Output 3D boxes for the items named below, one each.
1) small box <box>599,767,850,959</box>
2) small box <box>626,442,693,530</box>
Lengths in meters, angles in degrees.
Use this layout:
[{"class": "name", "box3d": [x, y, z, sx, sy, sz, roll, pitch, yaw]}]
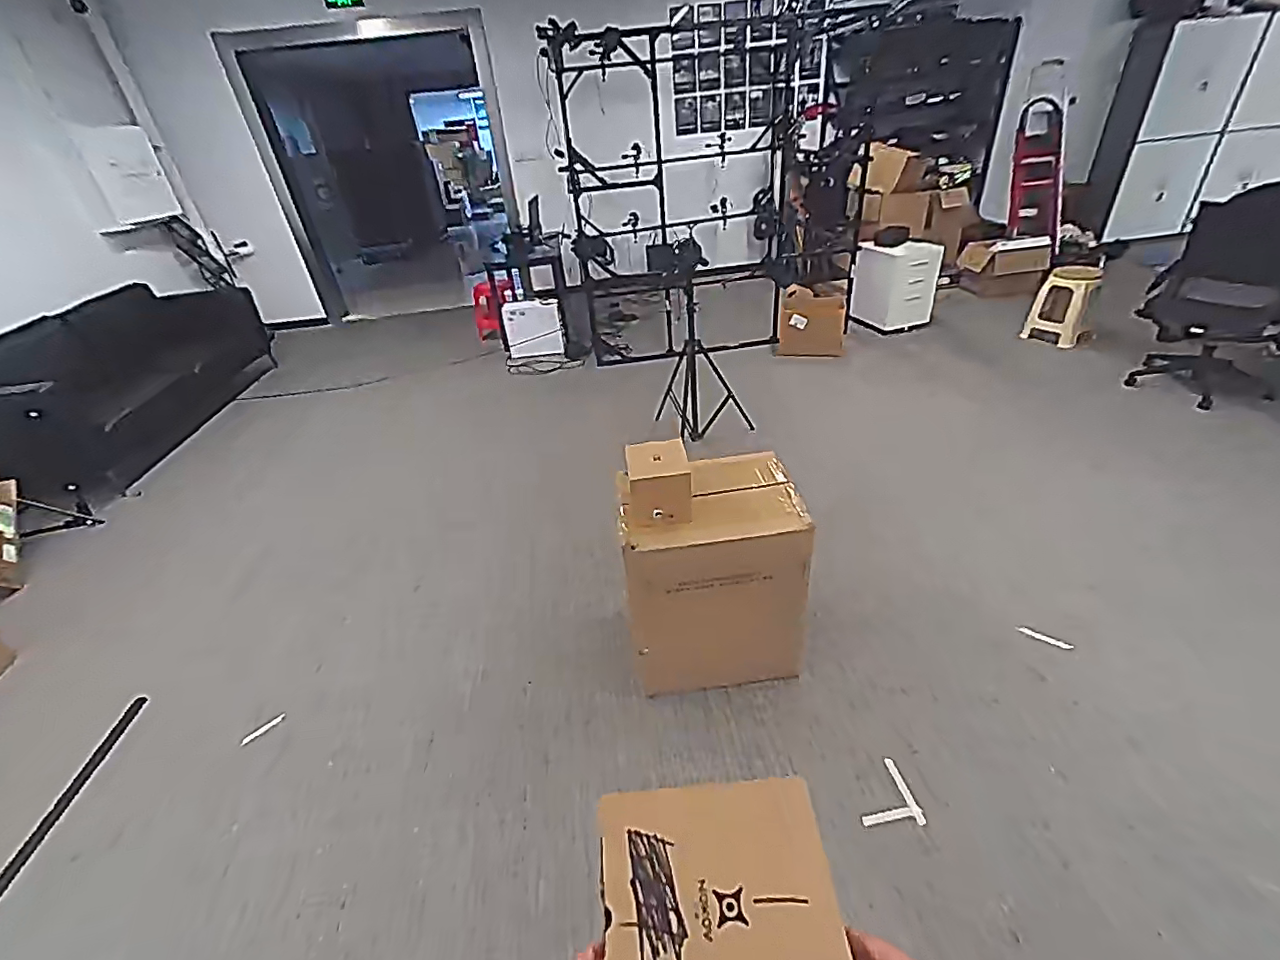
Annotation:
[{"class": "small box", "box3d": [0.063, 0.370, 0.462, 0.179, 0.176, 0.168, -6, 43, -1]}, {"class": "small box", "box3d": [0.054, 0.016, 1.519, 0.168, 0.176, 0.179, -8, 36, -2]}]
